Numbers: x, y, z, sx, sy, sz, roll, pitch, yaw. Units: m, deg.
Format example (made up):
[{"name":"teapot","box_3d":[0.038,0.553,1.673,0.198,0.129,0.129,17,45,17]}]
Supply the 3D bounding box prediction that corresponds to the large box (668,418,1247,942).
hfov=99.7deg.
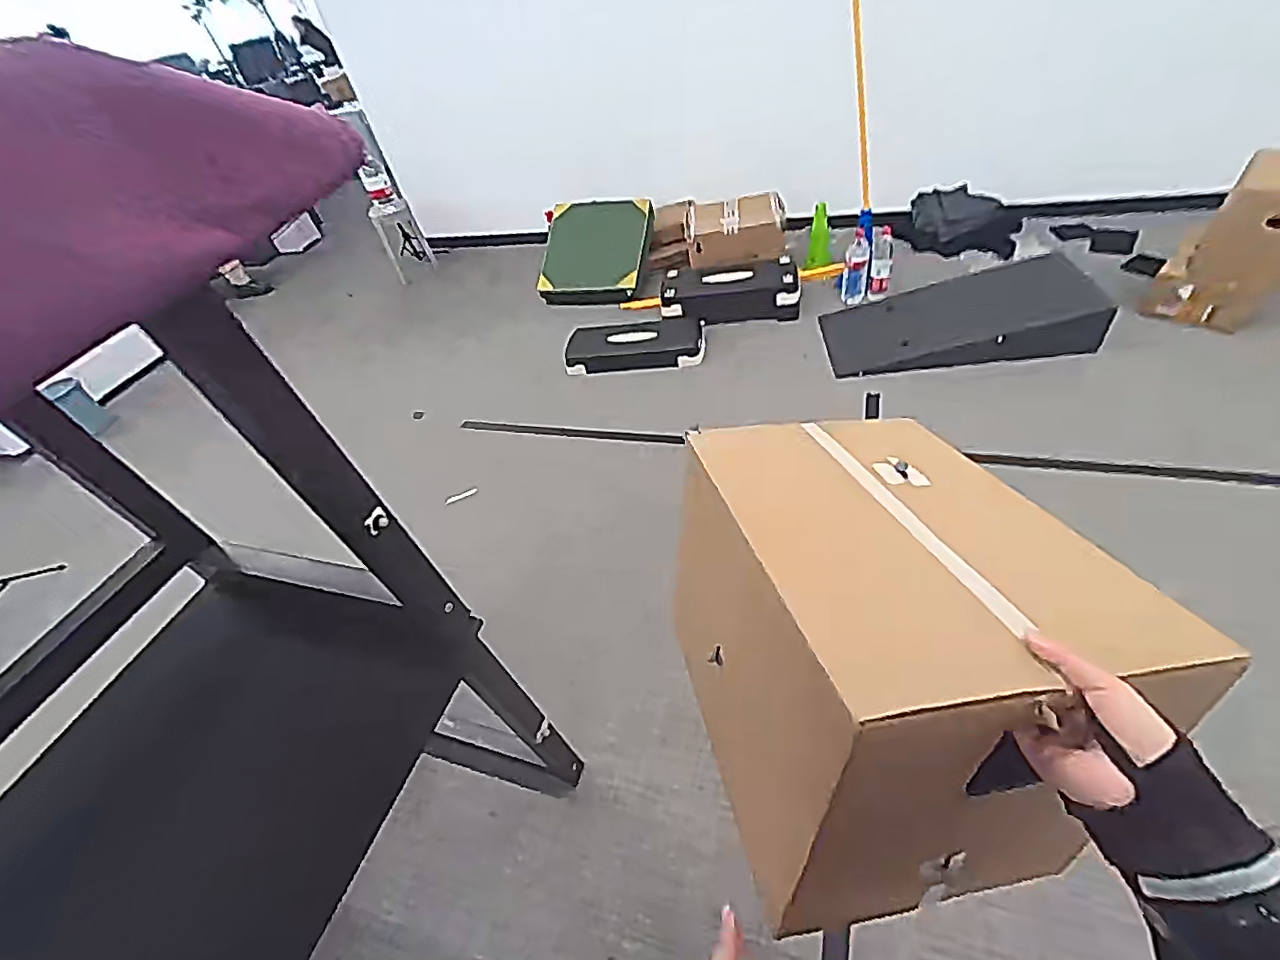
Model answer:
[{"name":"large box","box_3d":[0.230,0.161,0.582,0.320,0.320,0.408,-3,31,-11]}]
